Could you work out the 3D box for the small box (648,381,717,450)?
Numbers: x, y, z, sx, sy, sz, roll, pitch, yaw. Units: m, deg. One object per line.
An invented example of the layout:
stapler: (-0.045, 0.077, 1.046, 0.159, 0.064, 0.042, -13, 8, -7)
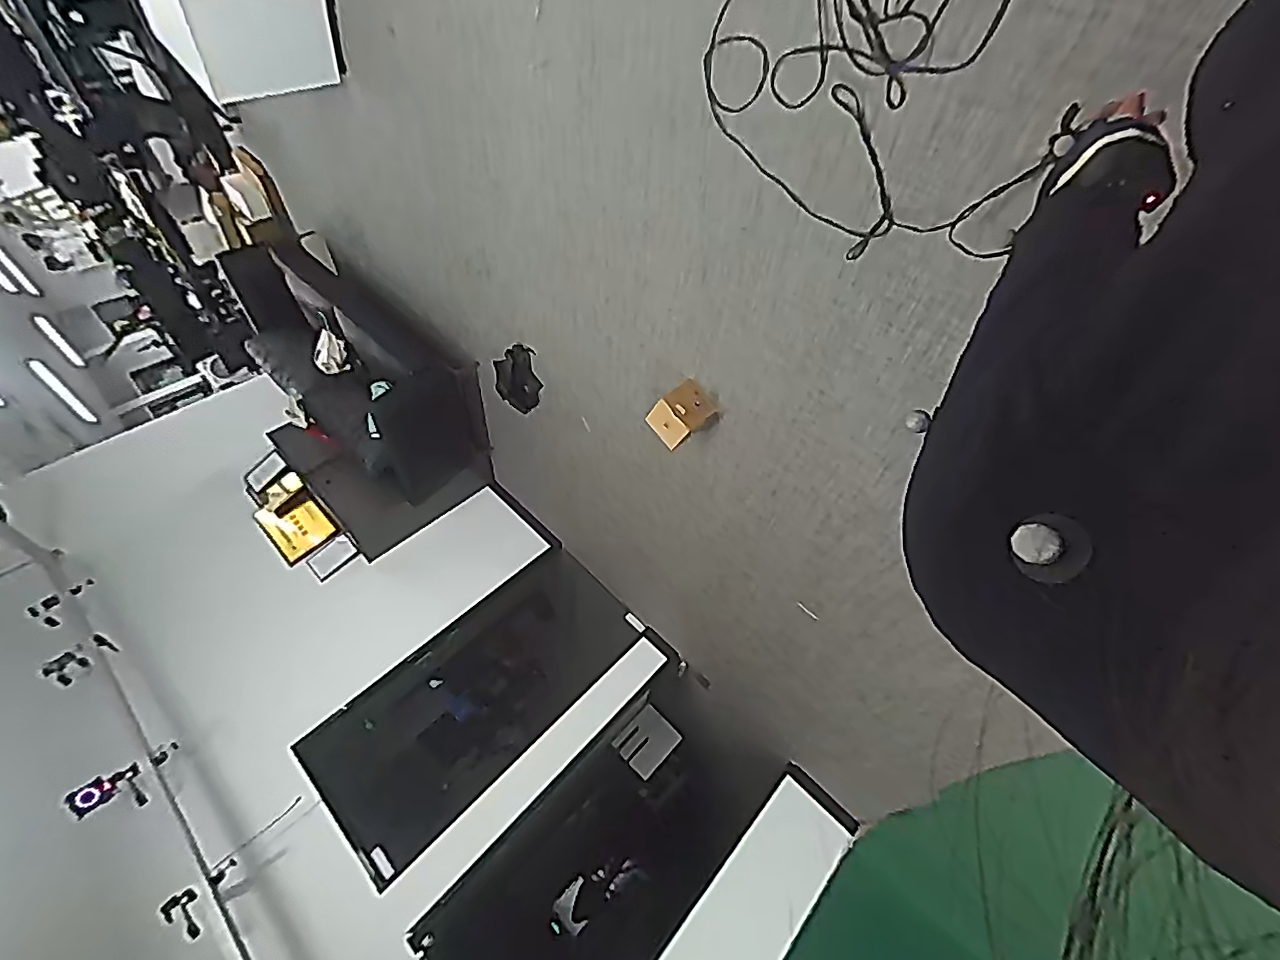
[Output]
small box: (0.166, -0.249, 2.080, 0.168, 0.176, 0.179, 51, 150, 5)
